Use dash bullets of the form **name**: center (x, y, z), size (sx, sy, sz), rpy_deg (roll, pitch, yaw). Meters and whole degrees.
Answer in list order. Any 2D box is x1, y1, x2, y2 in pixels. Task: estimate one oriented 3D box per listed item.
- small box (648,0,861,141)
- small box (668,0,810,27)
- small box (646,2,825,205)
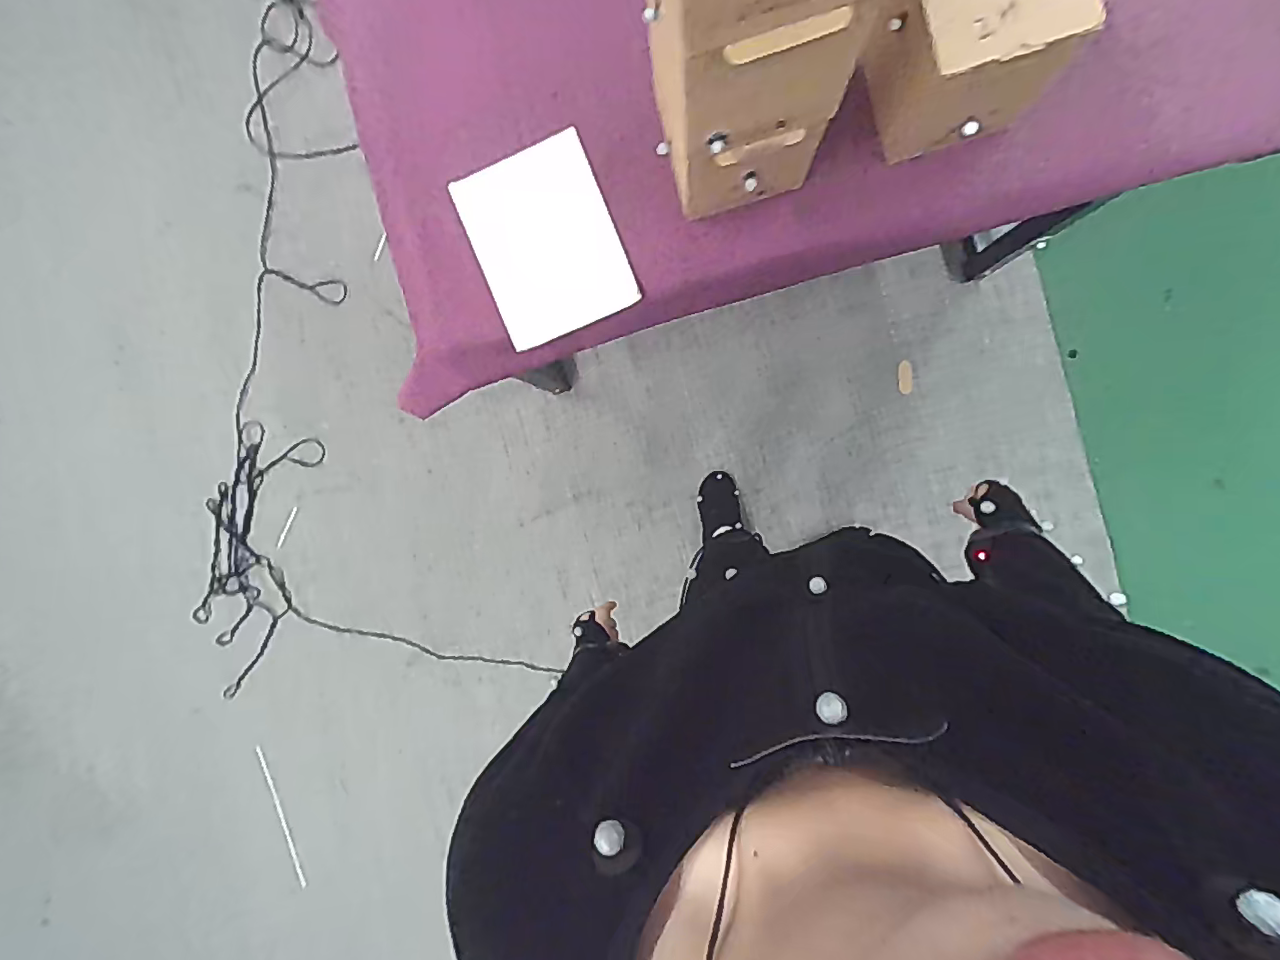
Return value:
- **small box**: center (0.098, -0.458, 0.509), size (0.168, 0.176, 0.179), rpy_deg (-14, 90, 6)
- **small box**: center (0.083, -0.445, 0.347), size (0.168, 0.176, 0.179), rpy_deg (-13, 91, 6)
- **small box**: center (0.113, -0.471, 0.673), size (0.168, 0.176, 0.179), rpy_deg (-14, 92, 6)
